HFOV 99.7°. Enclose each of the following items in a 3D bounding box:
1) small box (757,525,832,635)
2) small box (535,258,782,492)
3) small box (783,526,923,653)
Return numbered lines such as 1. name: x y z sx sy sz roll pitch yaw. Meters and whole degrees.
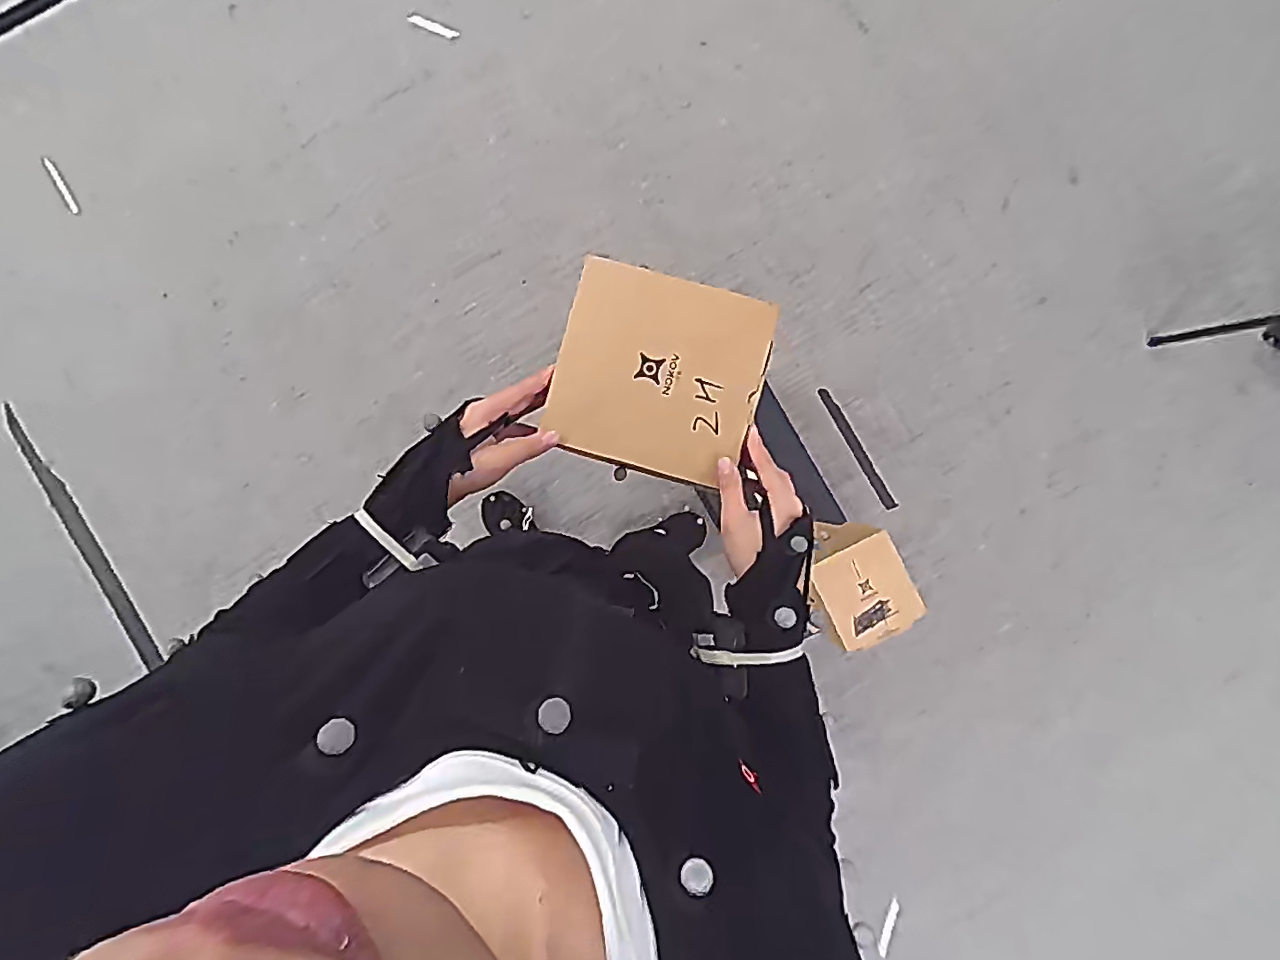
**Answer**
1. small box: 0.393 0.216 1.228 0.179 0.176 0.168 -32 91 -1
2. small box: 0.017 -0.088 0.536 0.179 0.176 0.168 16 90 1
3. small box: 0.407 0.206 1.064 0.168 0.176 0.179 -26 90 -1
